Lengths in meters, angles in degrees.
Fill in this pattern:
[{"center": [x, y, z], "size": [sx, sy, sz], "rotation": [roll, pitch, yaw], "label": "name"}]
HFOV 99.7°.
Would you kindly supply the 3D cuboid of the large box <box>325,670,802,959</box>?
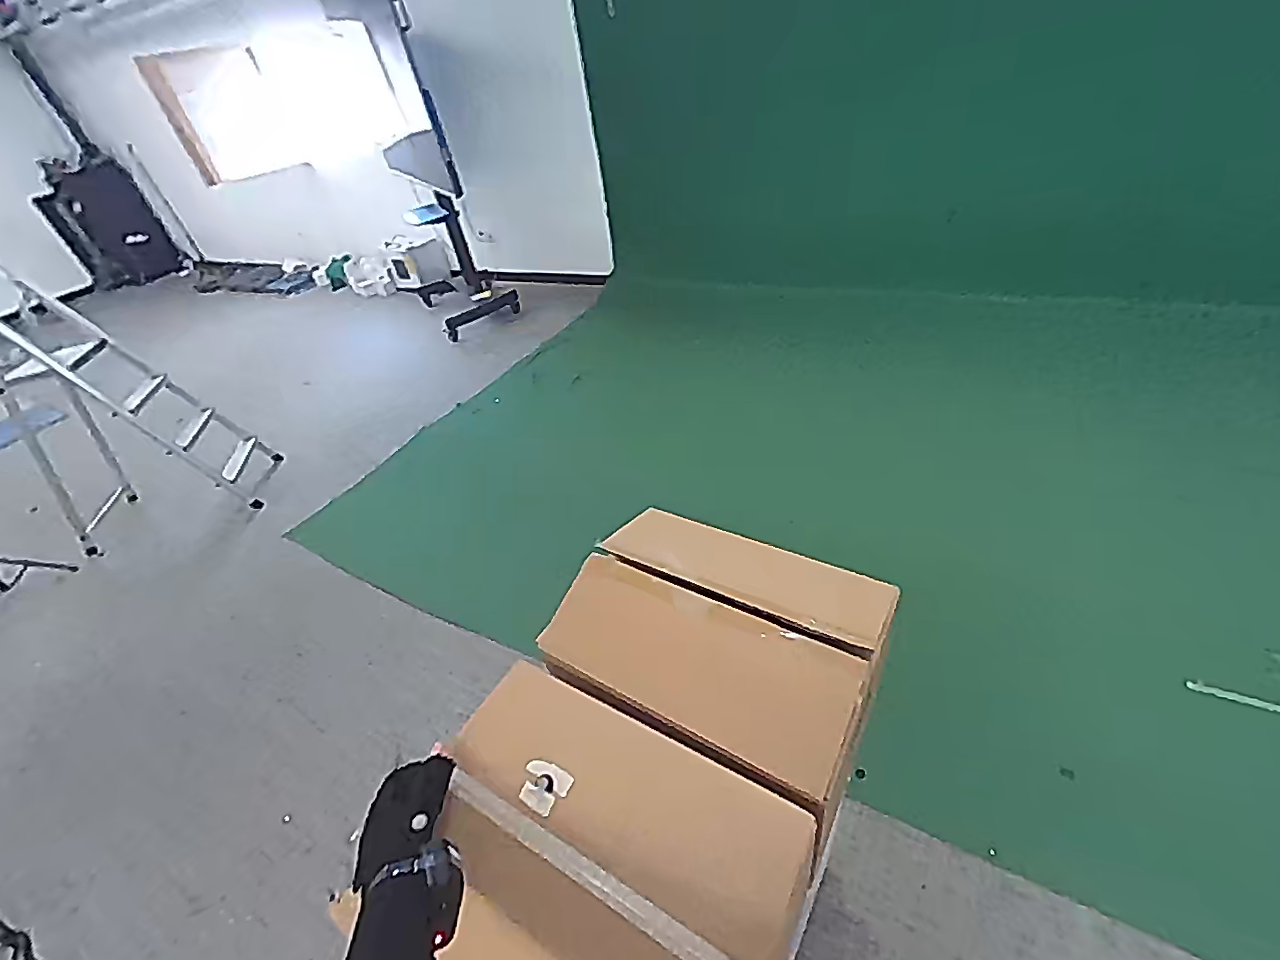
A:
[{"center": [-0.049, 0.499, 0.636], "size": [0.408, 0.320, 0.320], "rotation": [14, 46, 30], "label": "large box"}]
